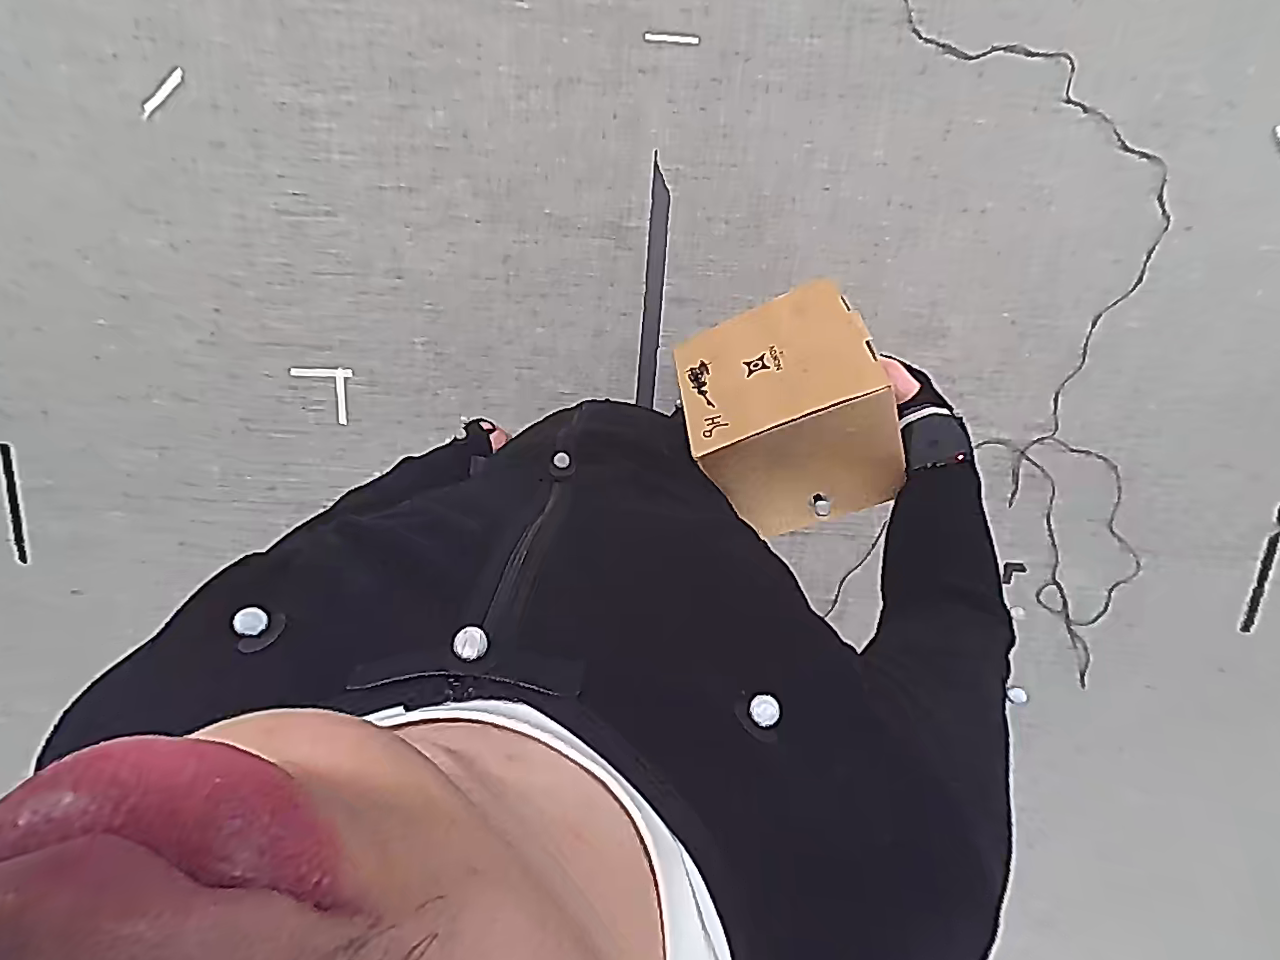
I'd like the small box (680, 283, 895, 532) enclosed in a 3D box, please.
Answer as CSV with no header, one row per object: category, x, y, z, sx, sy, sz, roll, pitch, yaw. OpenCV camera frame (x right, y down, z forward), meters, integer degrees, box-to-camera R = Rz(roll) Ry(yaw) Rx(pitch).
small box,0.161,-0.070,0.586,0.179,0.168,0.176,-20,137,17
